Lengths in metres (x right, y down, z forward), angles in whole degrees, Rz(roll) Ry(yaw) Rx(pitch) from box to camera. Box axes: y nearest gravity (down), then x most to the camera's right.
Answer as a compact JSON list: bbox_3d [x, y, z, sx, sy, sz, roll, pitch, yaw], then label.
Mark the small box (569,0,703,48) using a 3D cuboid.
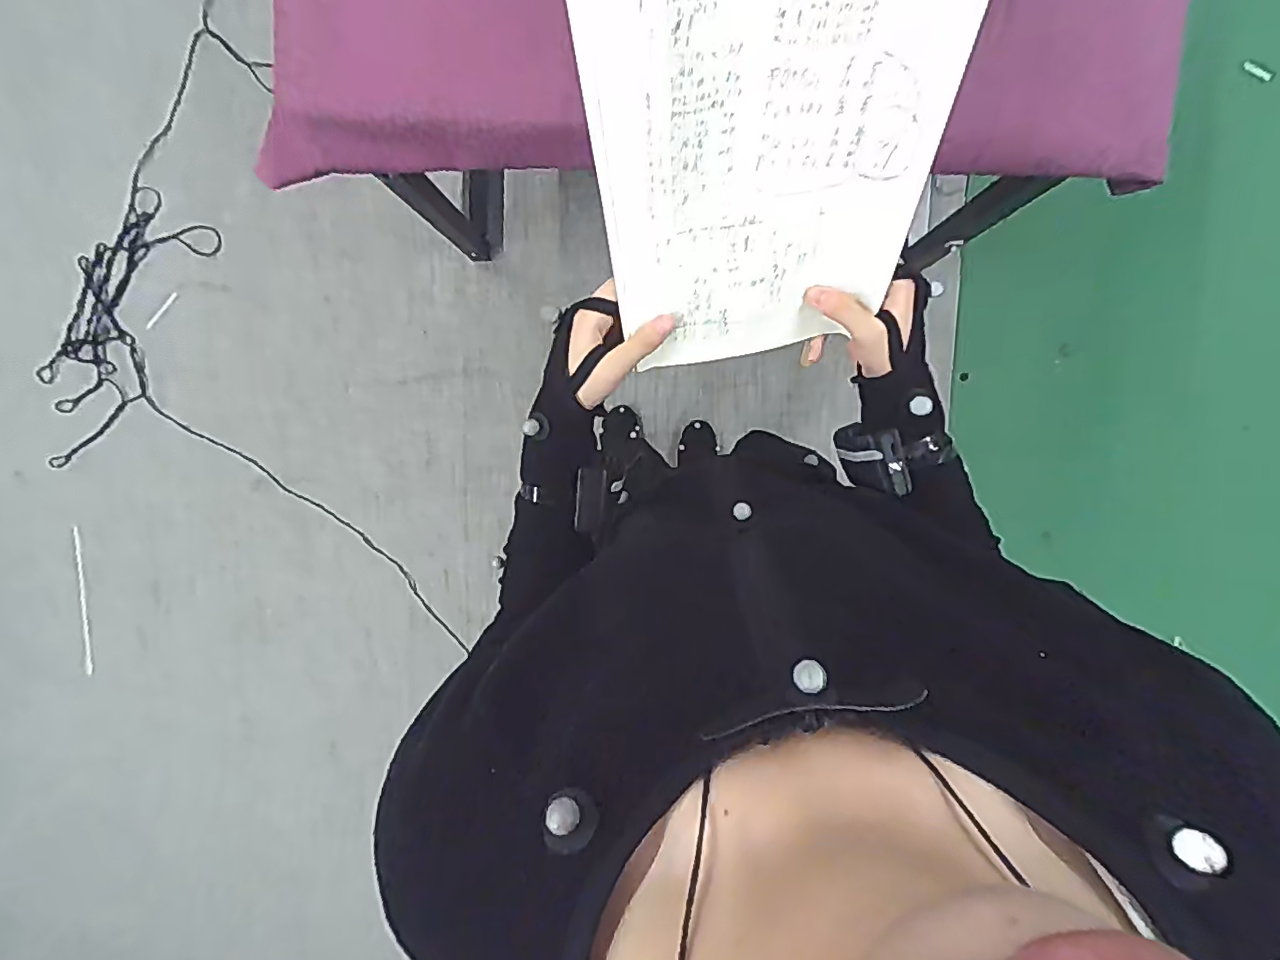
[{"bbox_3d":[-0.002,-0.657,0.641,0.168,0.176,0.179,3,96,2],"label":"small box"}]
